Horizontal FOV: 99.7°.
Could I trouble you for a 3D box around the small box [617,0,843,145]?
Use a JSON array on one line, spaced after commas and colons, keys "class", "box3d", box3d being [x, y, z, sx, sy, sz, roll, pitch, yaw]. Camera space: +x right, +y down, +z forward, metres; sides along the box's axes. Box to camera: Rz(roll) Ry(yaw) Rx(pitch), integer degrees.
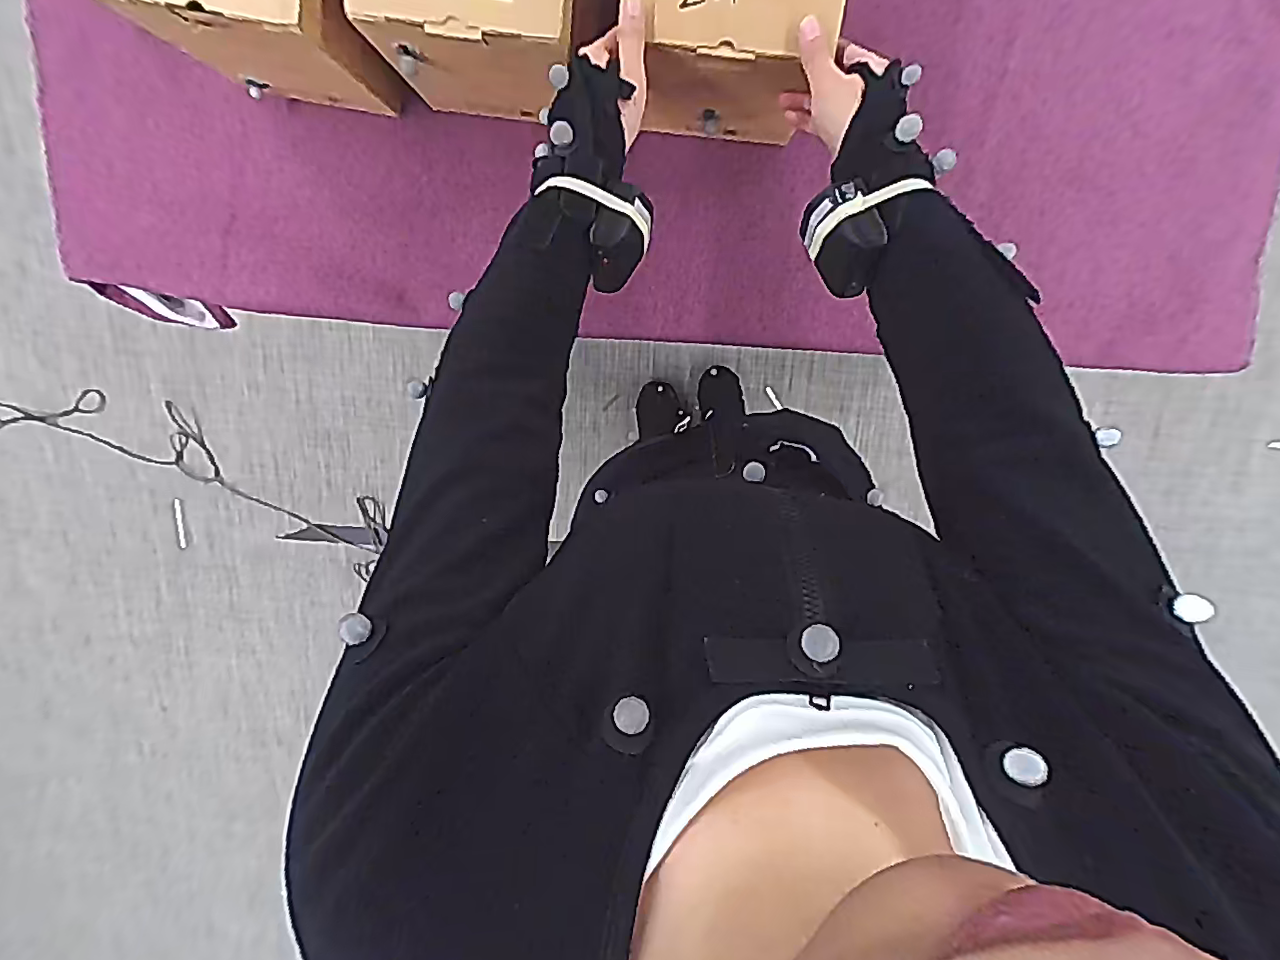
[{"class": "small box", "box3d": [0.075, -0.421, 0.462, 0.168, 0.176, 0.179, 7, 103, 1]}]
